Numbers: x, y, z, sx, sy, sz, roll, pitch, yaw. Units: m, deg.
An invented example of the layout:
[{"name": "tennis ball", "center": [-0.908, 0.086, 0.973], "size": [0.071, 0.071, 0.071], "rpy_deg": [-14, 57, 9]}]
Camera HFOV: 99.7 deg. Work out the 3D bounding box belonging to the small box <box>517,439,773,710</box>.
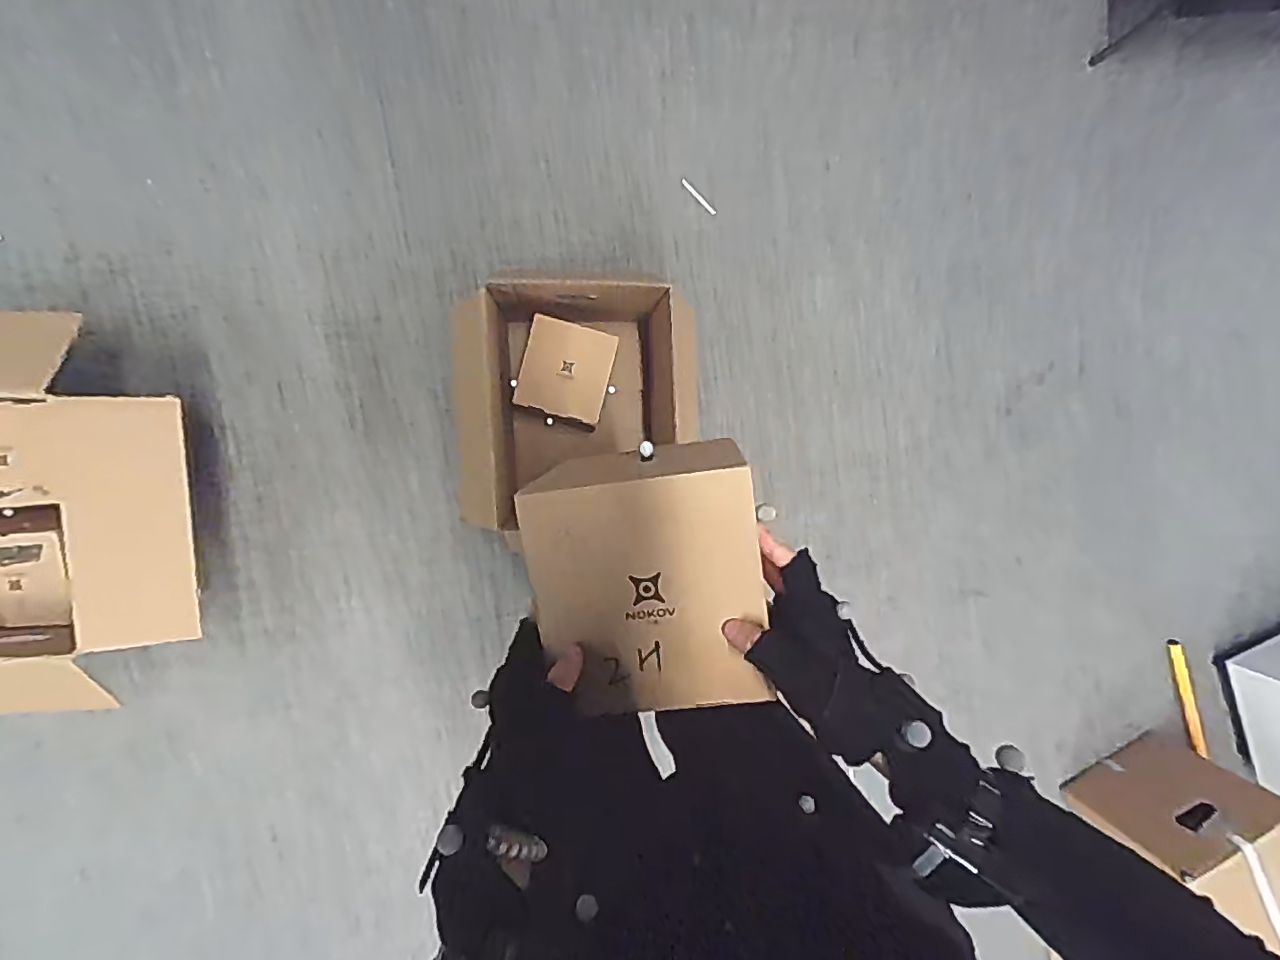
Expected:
[{"name": "small box", "center": [0.011, 0.063, 0.458], "size": [0.168, 0.176, 0.179], "rpy_deg": [-7, 101, 7]}]
